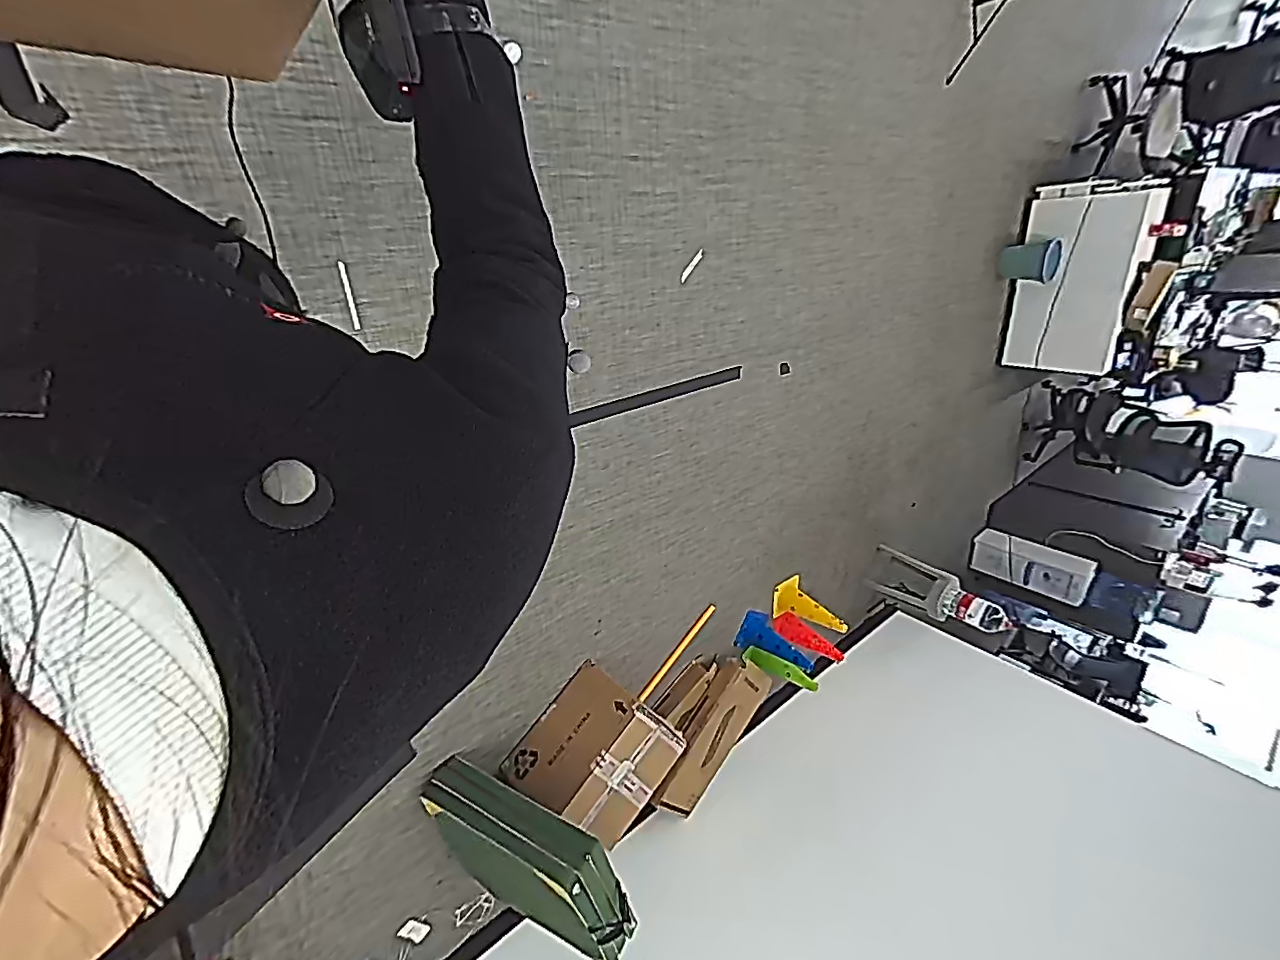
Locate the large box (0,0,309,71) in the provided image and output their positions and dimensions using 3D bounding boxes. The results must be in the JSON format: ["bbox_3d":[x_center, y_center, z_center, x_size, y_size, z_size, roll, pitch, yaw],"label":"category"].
[{"bbox_3d":[-0.420,-0.434,0.244,0.408,0.320,0.320,-18,121,-35],"label":"large box"}]
